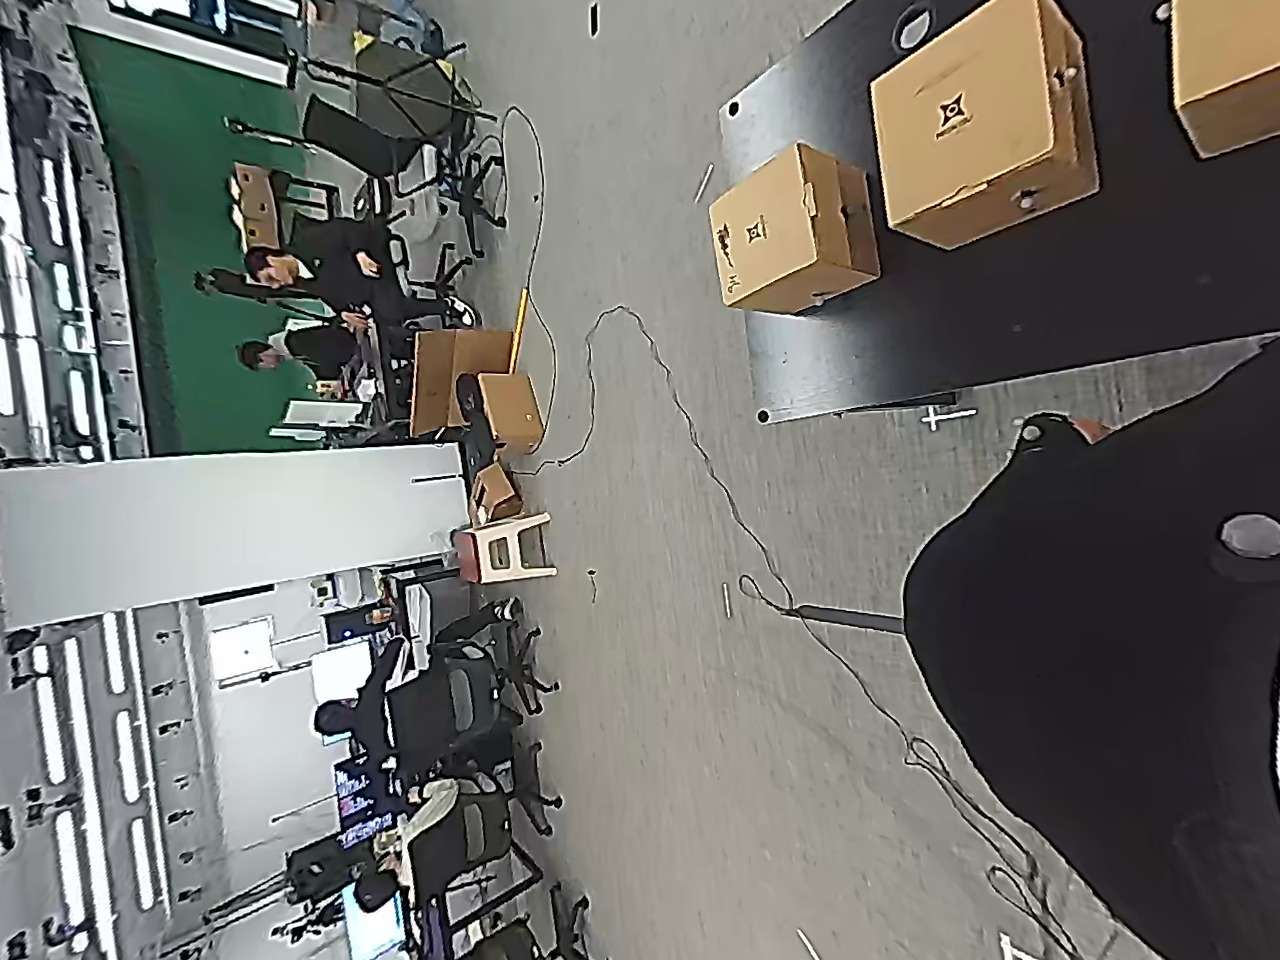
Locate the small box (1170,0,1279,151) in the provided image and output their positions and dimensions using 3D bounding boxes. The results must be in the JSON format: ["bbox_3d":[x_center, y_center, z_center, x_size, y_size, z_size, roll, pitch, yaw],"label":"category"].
[{"bbox_3d":[0.545,-0.403,0.427,0.168,0.176,0.179,0,96,52],"label":"small box"}]

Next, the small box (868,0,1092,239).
[{"bbox_3d":[0.393,-0.399,0.625,0.168,0.176,0.179,-8,89,52],"label":"small box"}]

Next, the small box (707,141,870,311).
[{"bbox_3d":[0.233,-0.372,0.831,0.179,0.176,0.168,-10,88,51],"label":"small box"}]
